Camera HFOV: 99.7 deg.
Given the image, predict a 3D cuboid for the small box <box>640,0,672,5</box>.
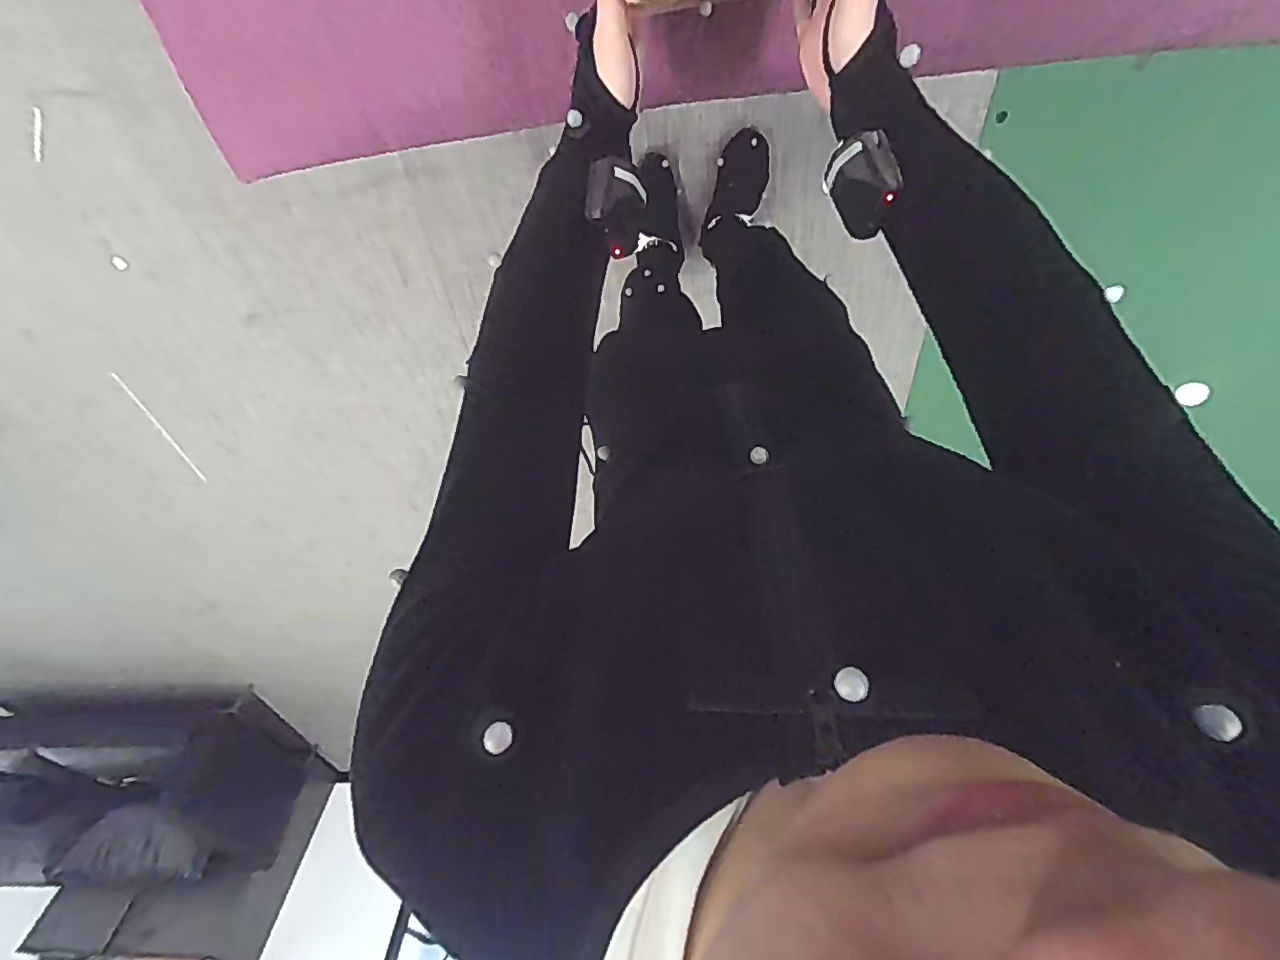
[{"bbox_3d":[0.058,-0.488,0.407,0.168,0.176,0.179,-6,129,5],"label":"small box"}]
